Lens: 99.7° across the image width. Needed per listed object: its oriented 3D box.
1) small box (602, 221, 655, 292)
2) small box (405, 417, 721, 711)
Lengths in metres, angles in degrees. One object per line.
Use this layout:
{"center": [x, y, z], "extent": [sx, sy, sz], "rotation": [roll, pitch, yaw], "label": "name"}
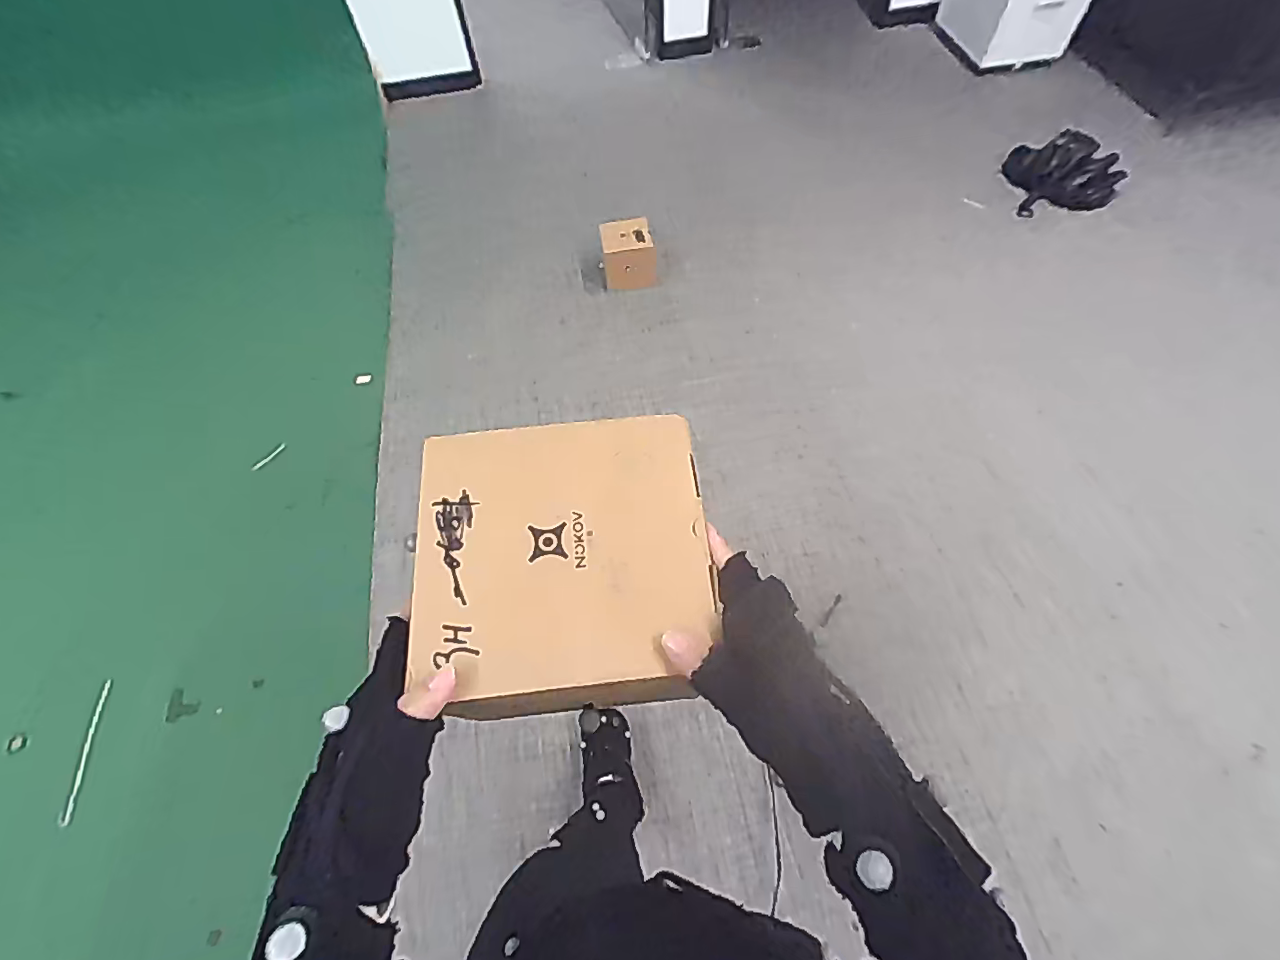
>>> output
{"center": [-0.040, -0.807, 1.958], "extent": [0.179, 0.176, 0.168], "rotation": [-6, 59, 0], "label": "small box"}
{"center": [-0.050, 0.071, 0.402], "extent": [0.179, 0.176, 0.168], "rotation": [-5, 63, -3], "label": "small box"}
